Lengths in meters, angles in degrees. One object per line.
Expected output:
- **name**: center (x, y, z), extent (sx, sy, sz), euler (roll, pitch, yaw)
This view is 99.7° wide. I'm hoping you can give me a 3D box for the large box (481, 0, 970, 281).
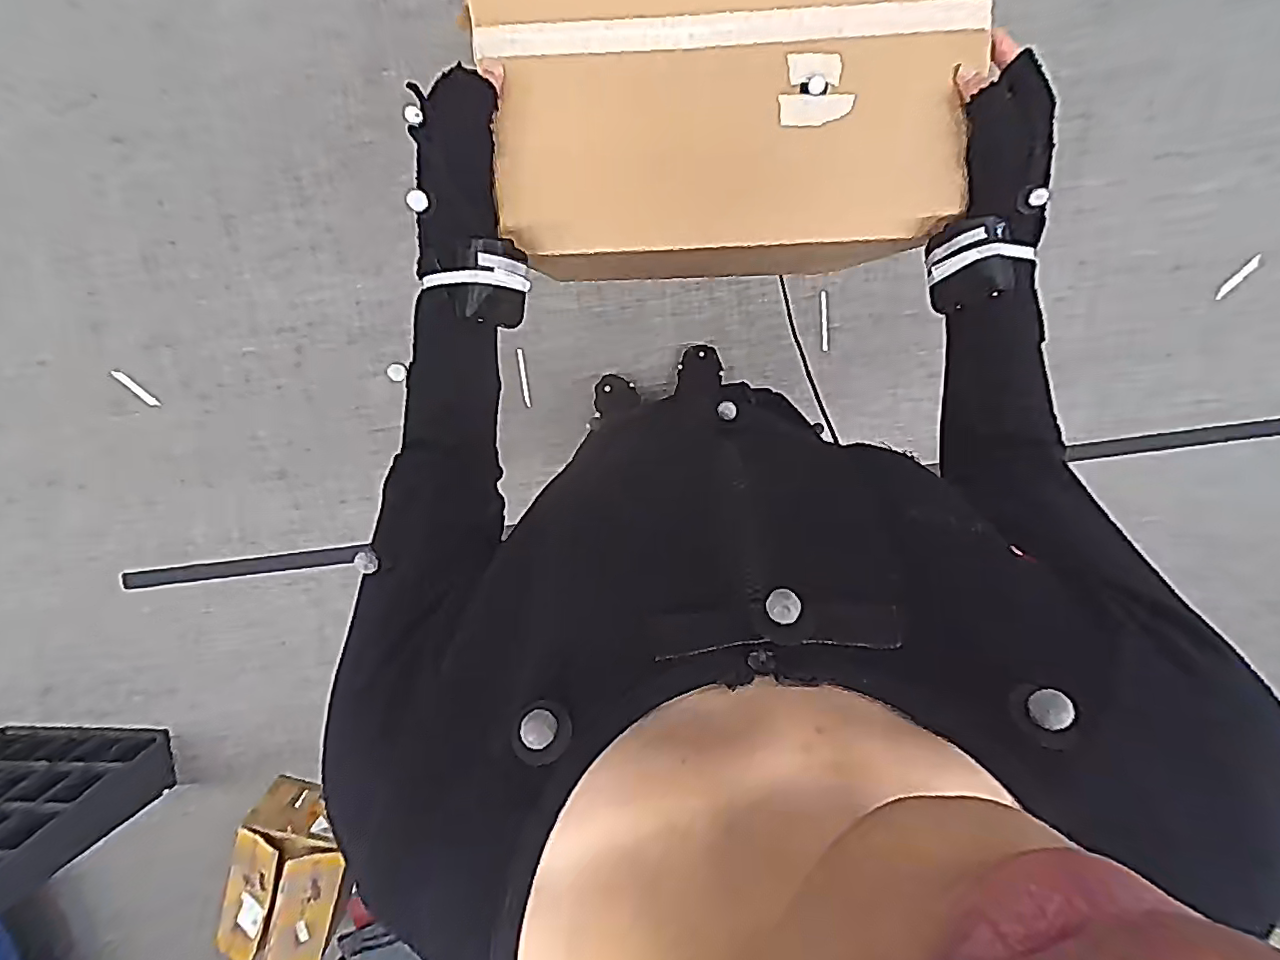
- **large box**: center (0.069, -0.403, 0.589), extent (0.408, 0.320, 0.320), euler (-3, 107, 0)
